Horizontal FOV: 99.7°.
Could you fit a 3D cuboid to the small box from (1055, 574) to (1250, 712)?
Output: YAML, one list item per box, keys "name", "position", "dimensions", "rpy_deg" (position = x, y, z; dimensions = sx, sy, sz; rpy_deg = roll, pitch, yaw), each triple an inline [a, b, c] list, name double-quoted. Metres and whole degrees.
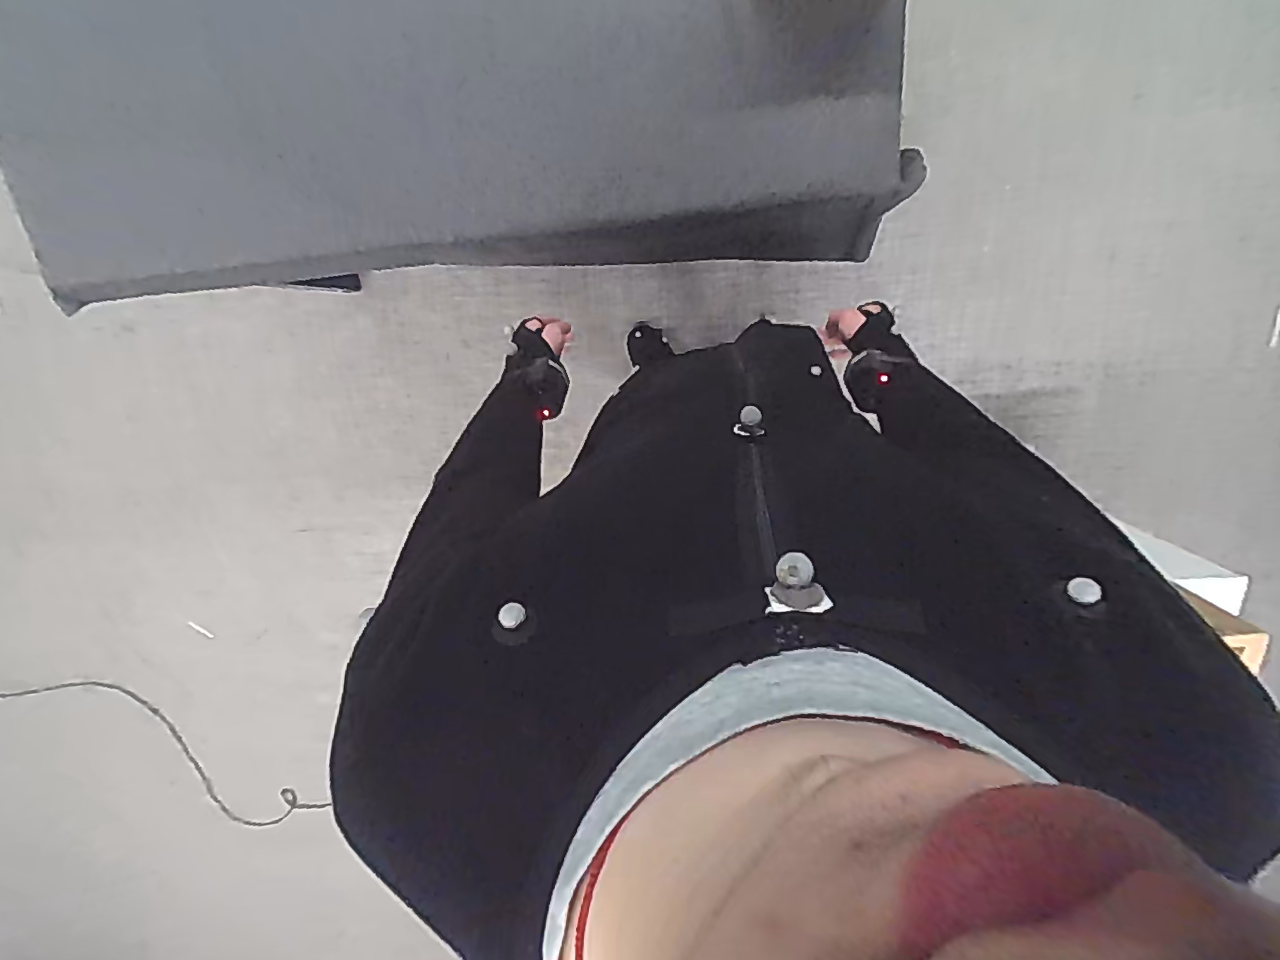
- name: "small box"
  position: [0.875, 0.274, 0.946]
  dimensions: [0.168, 0.176, 0.179]
  rpy_deg: [-3, 110, 3]
